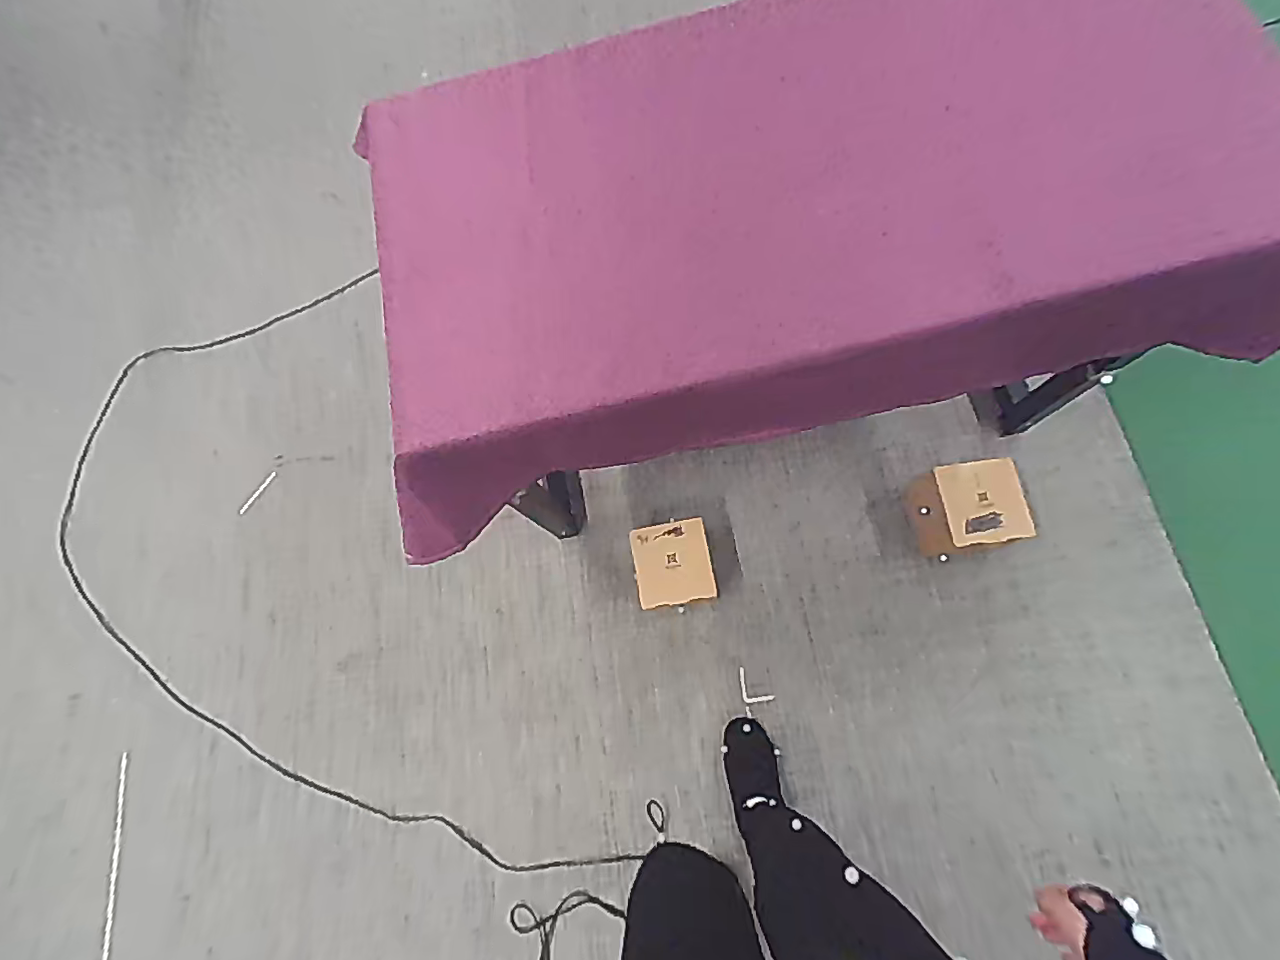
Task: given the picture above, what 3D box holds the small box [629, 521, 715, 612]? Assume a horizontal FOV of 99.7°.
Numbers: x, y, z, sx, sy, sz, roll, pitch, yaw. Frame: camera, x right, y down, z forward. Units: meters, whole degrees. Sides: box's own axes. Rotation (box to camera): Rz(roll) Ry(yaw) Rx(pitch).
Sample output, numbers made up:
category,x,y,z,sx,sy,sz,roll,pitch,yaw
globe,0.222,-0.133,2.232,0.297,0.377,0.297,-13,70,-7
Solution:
category,x,y,z,sx,sy,sz,roll,pitch,yaw
small box,0.079,0.205,1.245,0.168,0.176,0.179,-11,74,5
